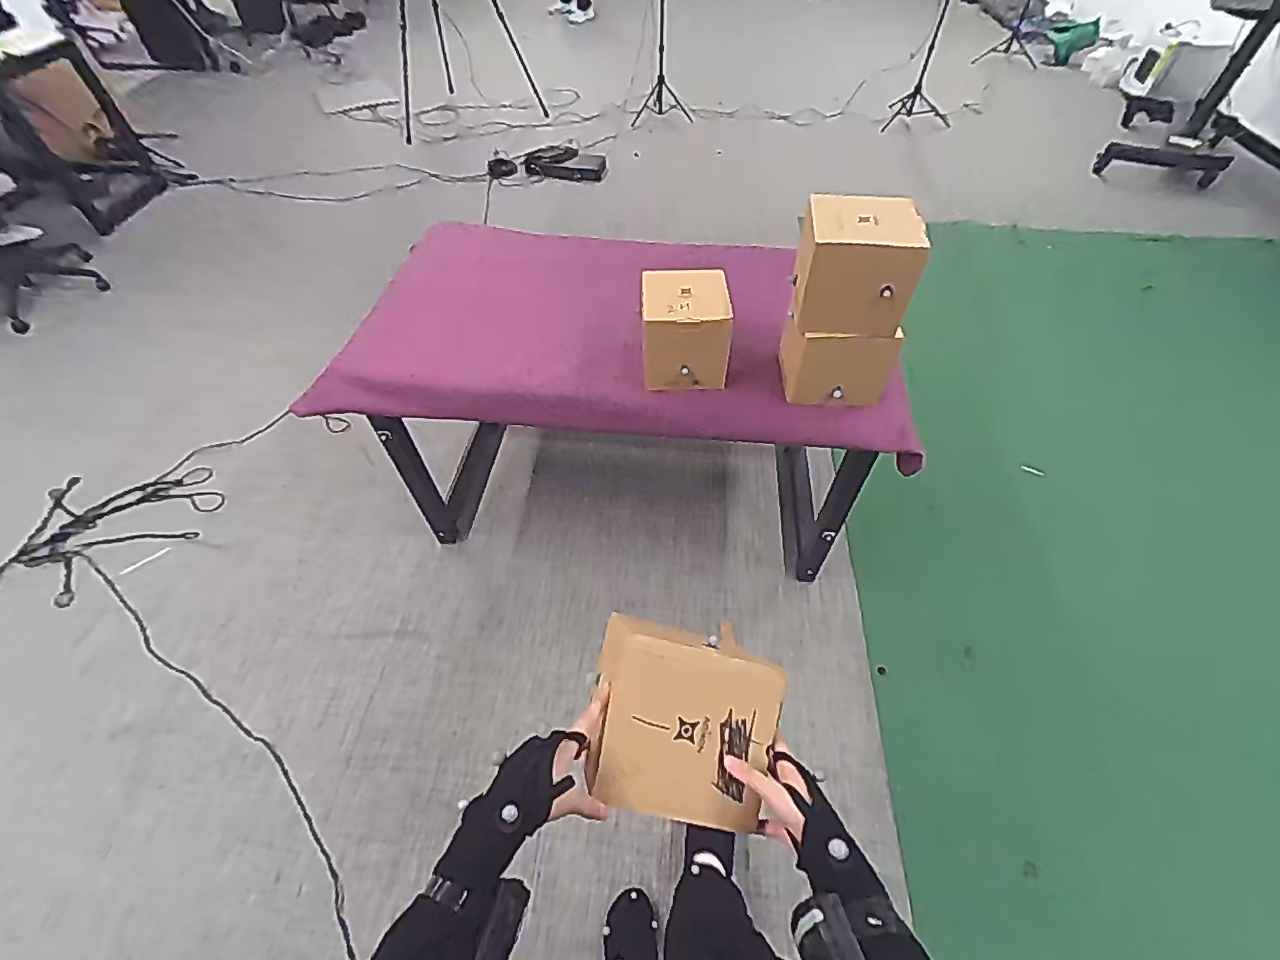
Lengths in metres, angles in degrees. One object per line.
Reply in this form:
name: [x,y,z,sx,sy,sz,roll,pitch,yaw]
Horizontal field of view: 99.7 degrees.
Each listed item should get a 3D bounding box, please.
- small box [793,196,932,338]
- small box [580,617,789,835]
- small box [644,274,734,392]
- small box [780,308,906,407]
small box: [0.371,-0.365,0.937,0.179,0.176,0.168,5,52,7]
small box: [0.039,0.263,0.618,0.179,0.176,0.168,17,81,-7]
small box: [0.092,-0.298,1.099,0.168,0.176,0.179,-1,51,1]
small box: [0.384,-0.257,1.060,0.179,0.176,0.168,1,51,2]
